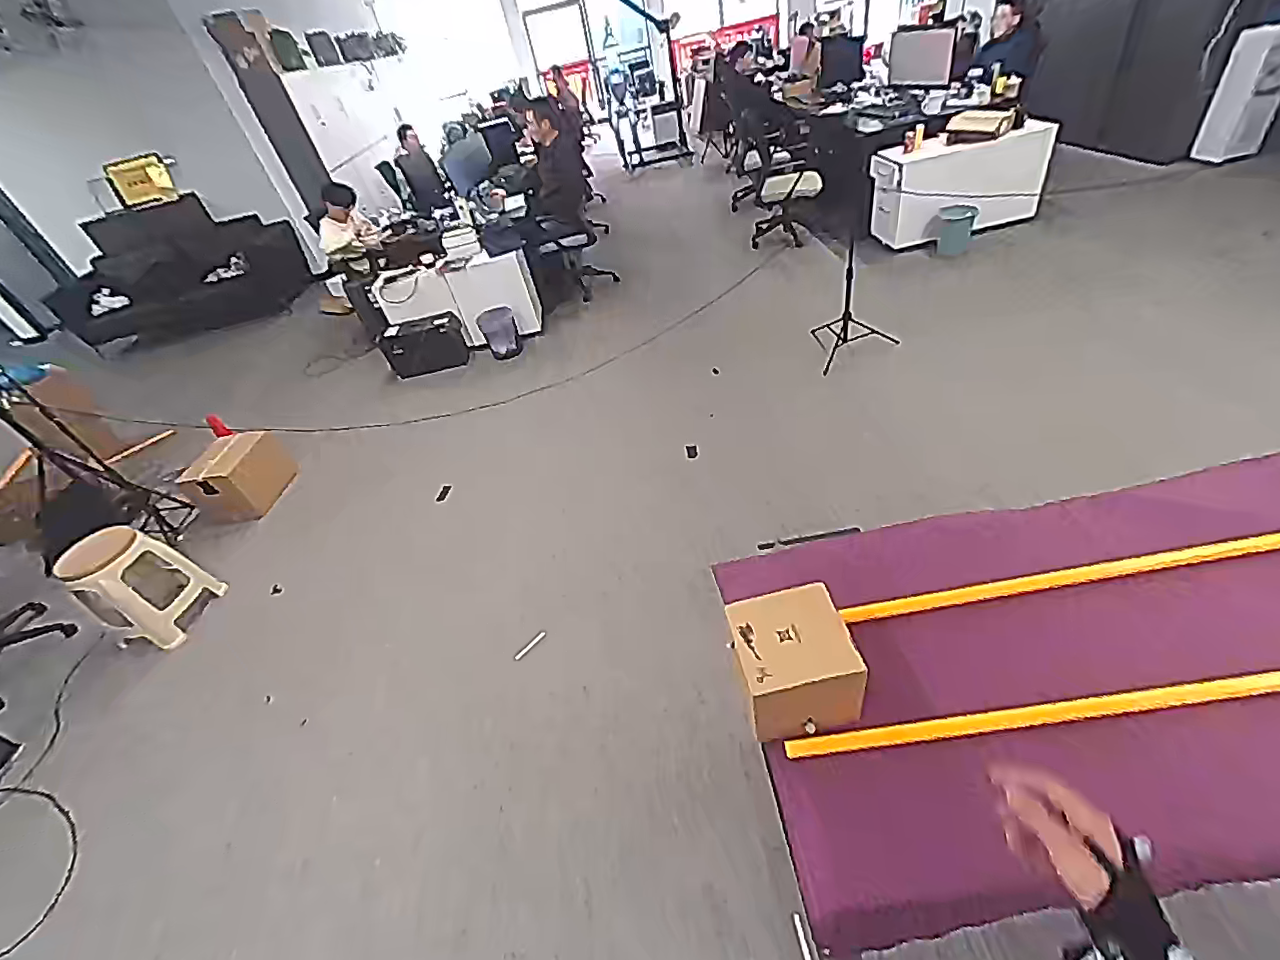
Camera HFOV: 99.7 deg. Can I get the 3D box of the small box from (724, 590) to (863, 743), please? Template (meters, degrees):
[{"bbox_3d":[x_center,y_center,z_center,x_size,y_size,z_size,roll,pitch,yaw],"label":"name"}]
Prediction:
[{"bbox_3d":[0.249,0.315,0.910,0.179,0.176,0.168,-13,41,1],"label":"small box"}]
